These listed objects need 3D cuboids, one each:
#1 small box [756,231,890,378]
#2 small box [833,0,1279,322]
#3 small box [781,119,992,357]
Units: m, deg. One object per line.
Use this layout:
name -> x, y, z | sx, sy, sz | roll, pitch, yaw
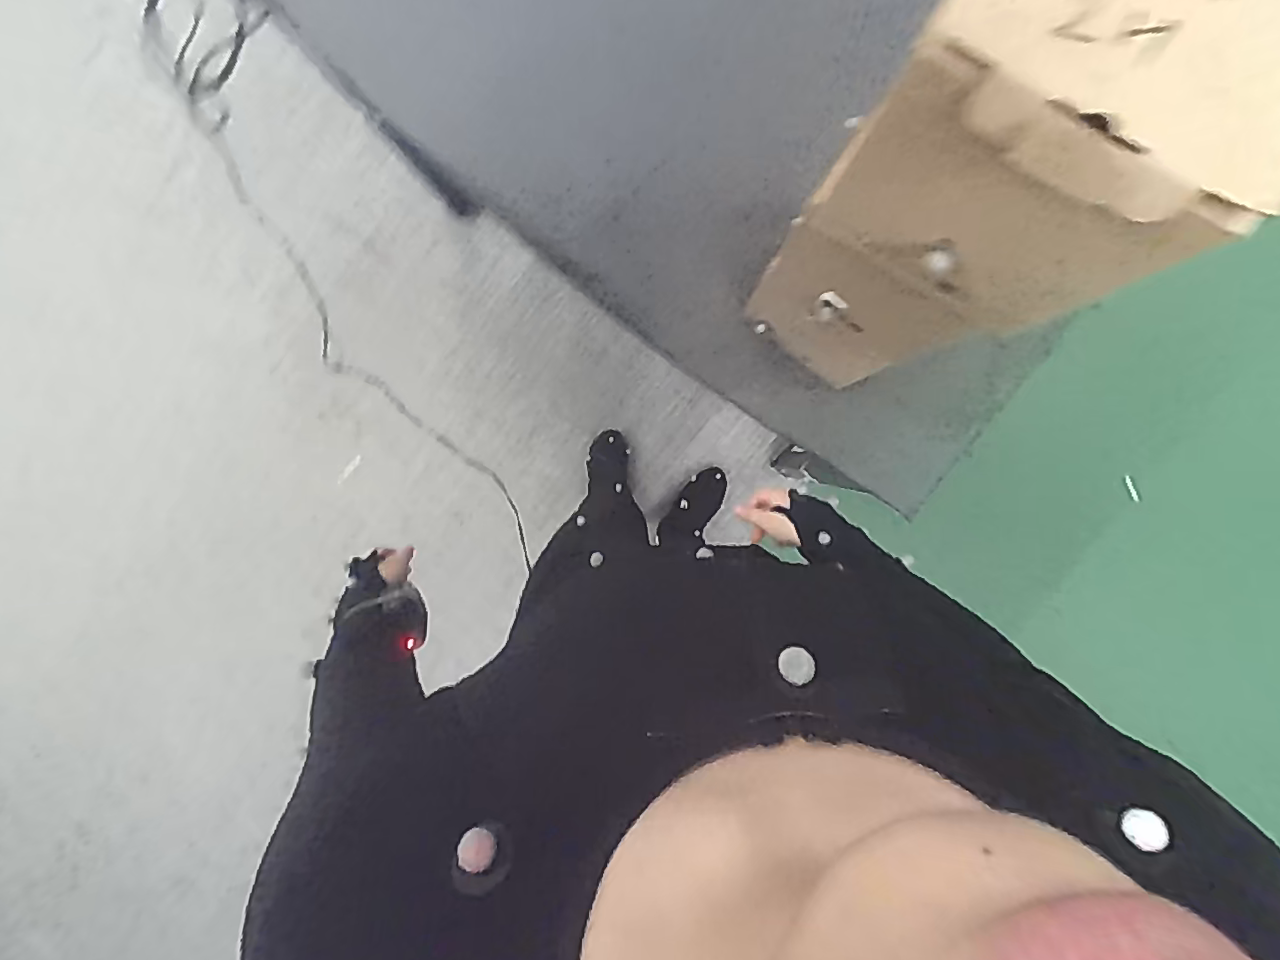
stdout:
small box -> 0.255, -0.243, 0.636 | 0.168, 0.176, 0.179 | 39, 91, 0
small box -> 0.239, -0.223, 0.309 | 0.168, 0.176, 0.179 | 32, 92, 2
small box -> 0.247, -0.235, 0.473 | 0.168, 0.176, 0.179 | 36, 93, 1
